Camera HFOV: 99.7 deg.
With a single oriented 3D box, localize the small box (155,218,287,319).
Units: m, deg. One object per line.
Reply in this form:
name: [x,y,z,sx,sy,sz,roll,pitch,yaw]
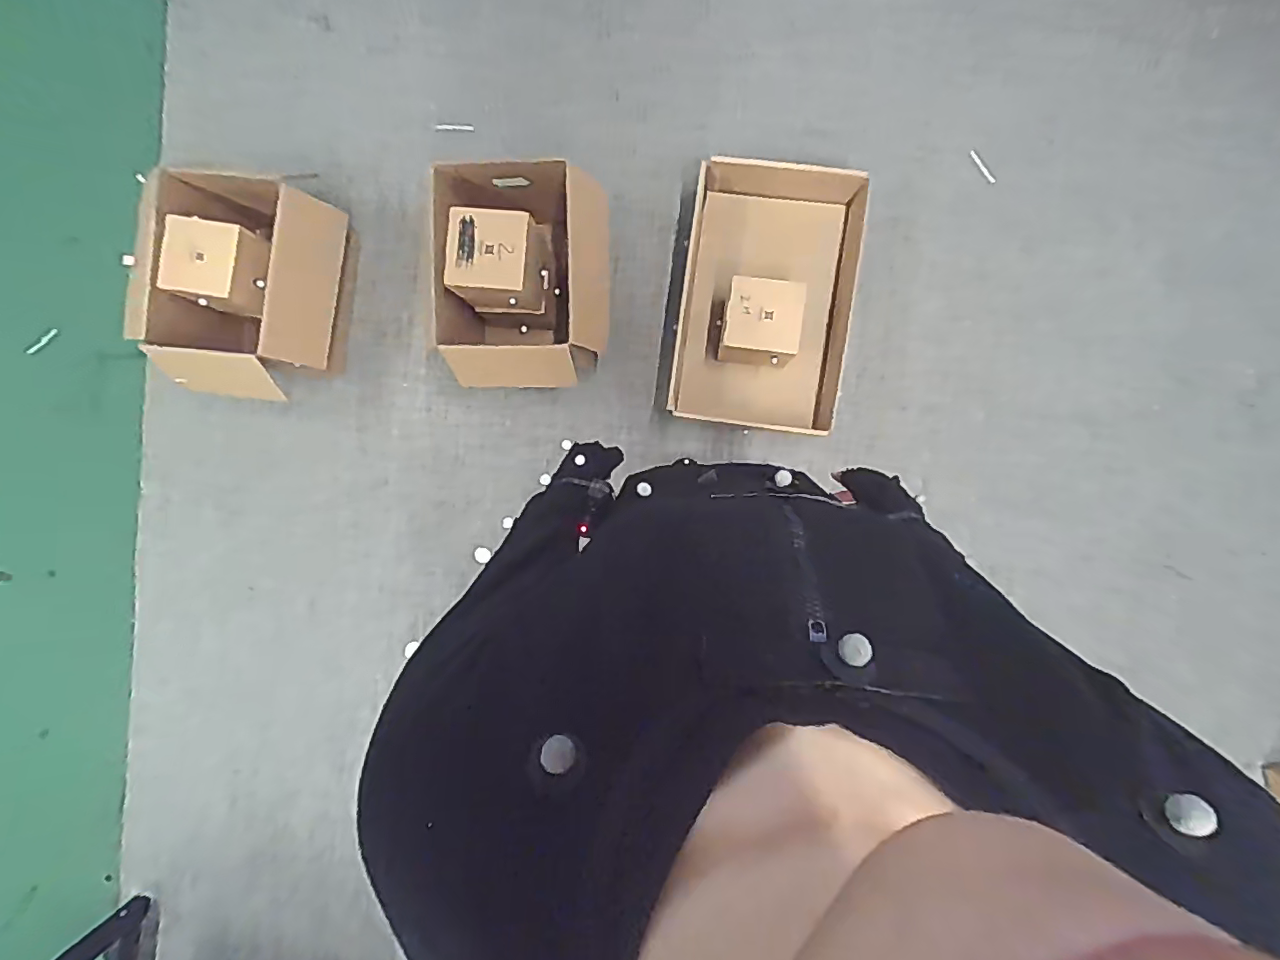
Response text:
small box: [-0.980,-0.491,1.281,0.179,0.176,0.168,9,91,3]
